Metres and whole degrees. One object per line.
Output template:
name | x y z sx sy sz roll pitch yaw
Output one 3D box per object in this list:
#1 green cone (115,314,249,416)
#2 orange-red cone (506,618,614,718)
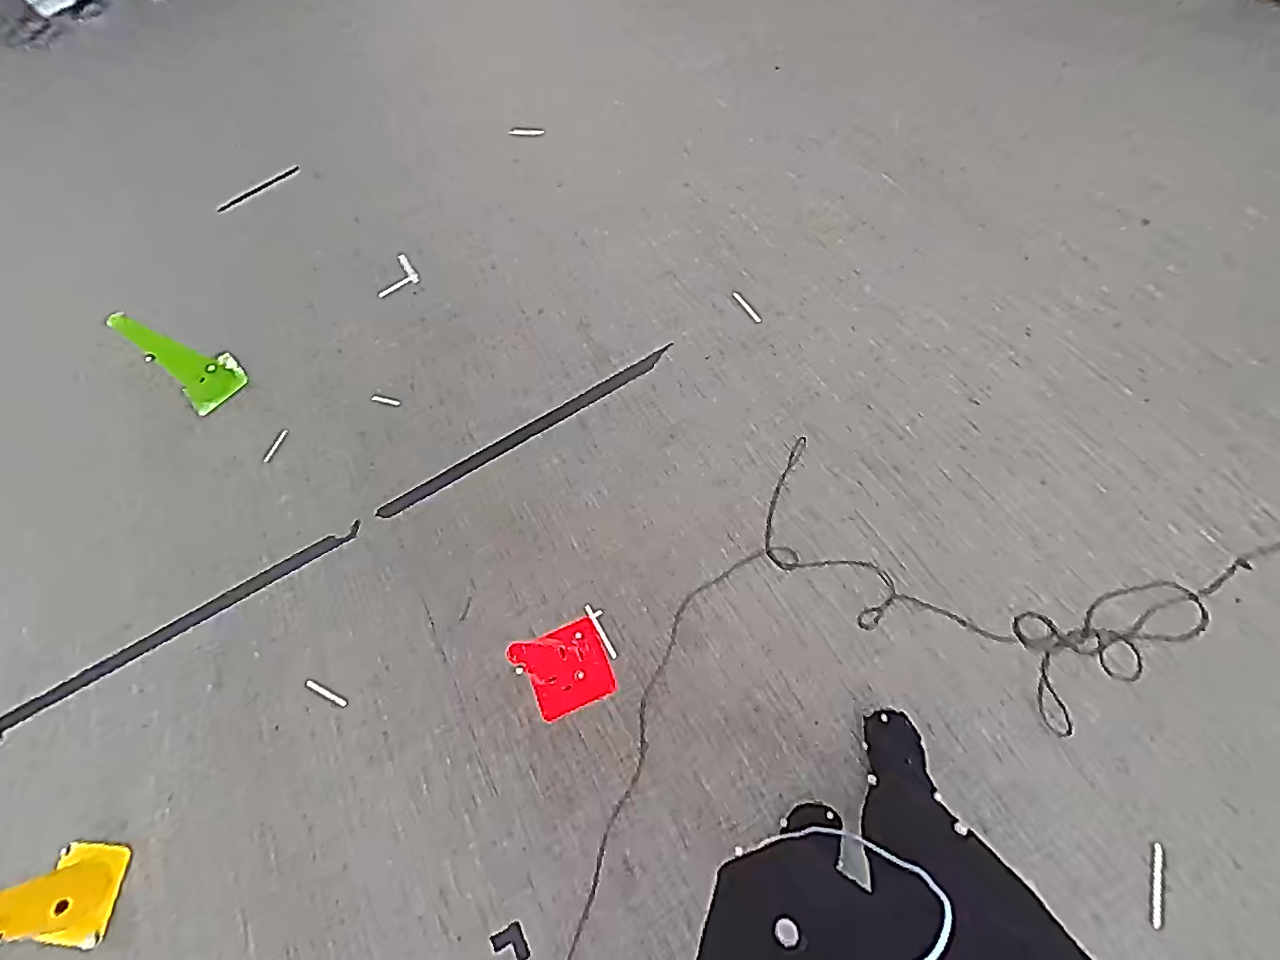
green cone | -1.558 -0.413 1.804 0.200 0.368 0.202 41 78 23
orange-red cone | -0.209 0.397 1.190 0.199 0.360 0.198 -24 64 1
